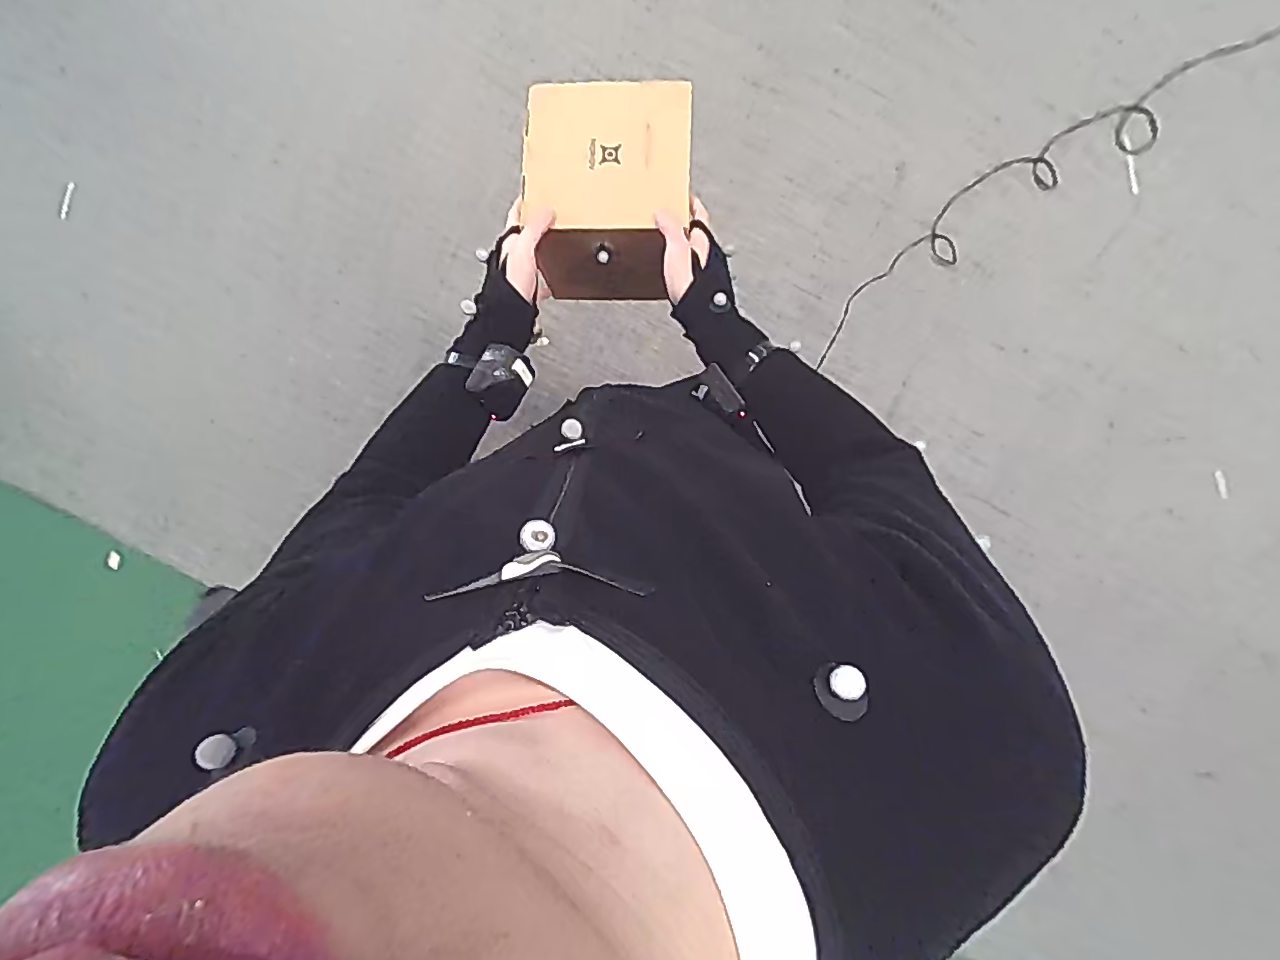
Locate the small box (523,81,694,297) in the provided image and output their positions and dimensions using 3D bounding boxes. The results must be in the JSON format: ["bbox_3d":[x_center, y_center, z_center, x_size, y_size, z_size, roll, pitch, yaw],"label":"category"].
[{"bbox_3d":[-0.029,-0.330,0.642,0.179,0.176,0.168,1,84,2],"label":"small box"}]
